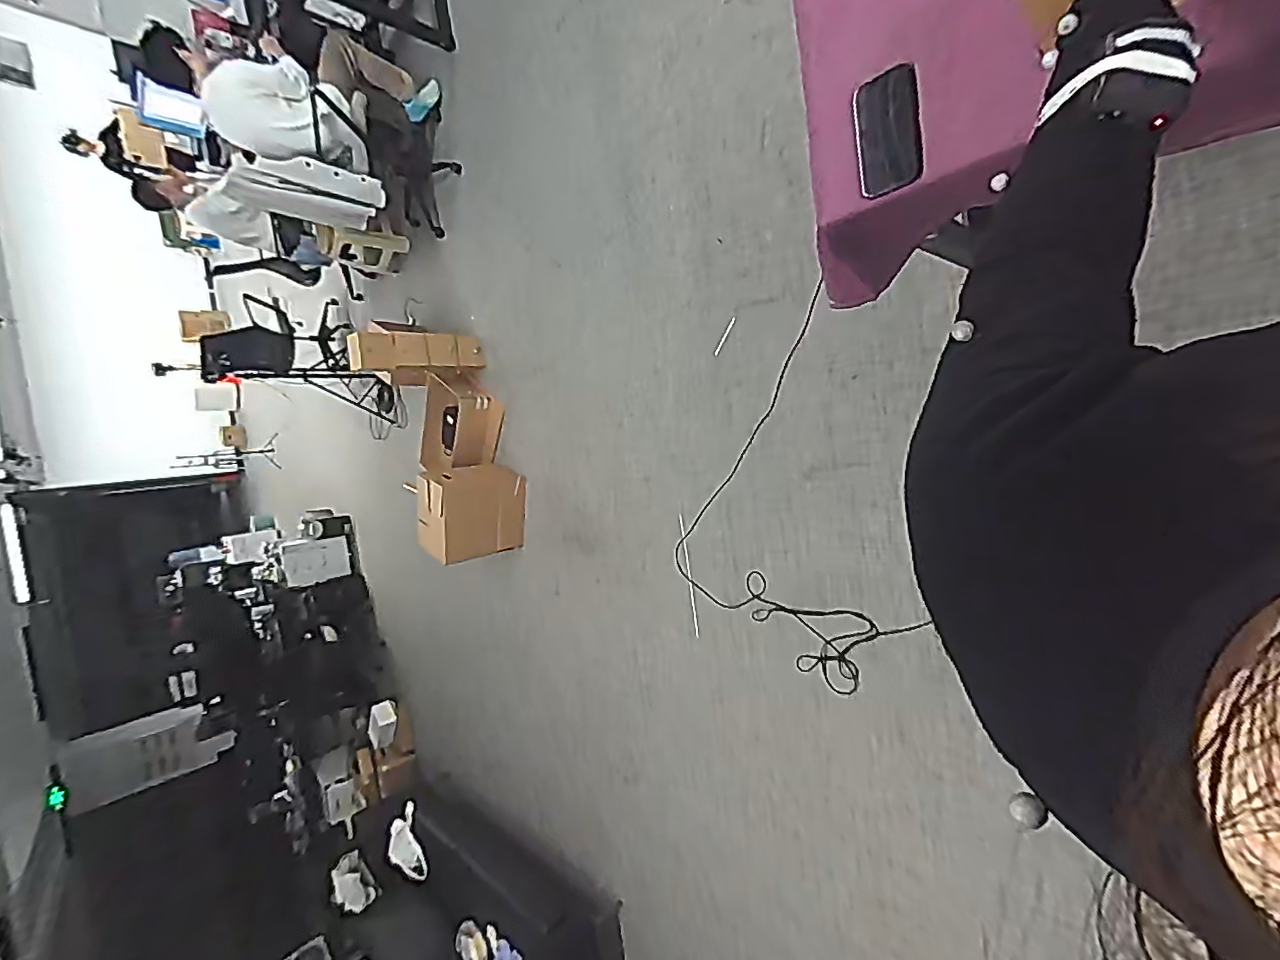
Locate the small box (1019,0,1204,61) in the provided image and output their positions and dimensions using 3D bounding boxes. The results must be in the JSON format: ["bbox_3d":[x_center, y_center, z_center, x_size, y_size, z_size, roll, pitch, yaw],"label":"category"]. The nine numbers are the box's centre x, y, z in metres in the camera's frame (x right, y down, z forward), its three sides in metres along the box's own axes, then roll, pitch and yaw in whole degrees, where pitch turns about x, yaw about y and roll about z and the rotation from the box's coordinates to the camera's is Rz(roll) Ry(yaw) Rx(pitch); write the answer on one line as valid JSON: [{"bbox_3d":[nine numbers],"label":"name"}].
[{"bbox_3d":[0.454,-0.548,0.499,0.168,0.176,0.179,1,98,46],"label":"small box"}]
